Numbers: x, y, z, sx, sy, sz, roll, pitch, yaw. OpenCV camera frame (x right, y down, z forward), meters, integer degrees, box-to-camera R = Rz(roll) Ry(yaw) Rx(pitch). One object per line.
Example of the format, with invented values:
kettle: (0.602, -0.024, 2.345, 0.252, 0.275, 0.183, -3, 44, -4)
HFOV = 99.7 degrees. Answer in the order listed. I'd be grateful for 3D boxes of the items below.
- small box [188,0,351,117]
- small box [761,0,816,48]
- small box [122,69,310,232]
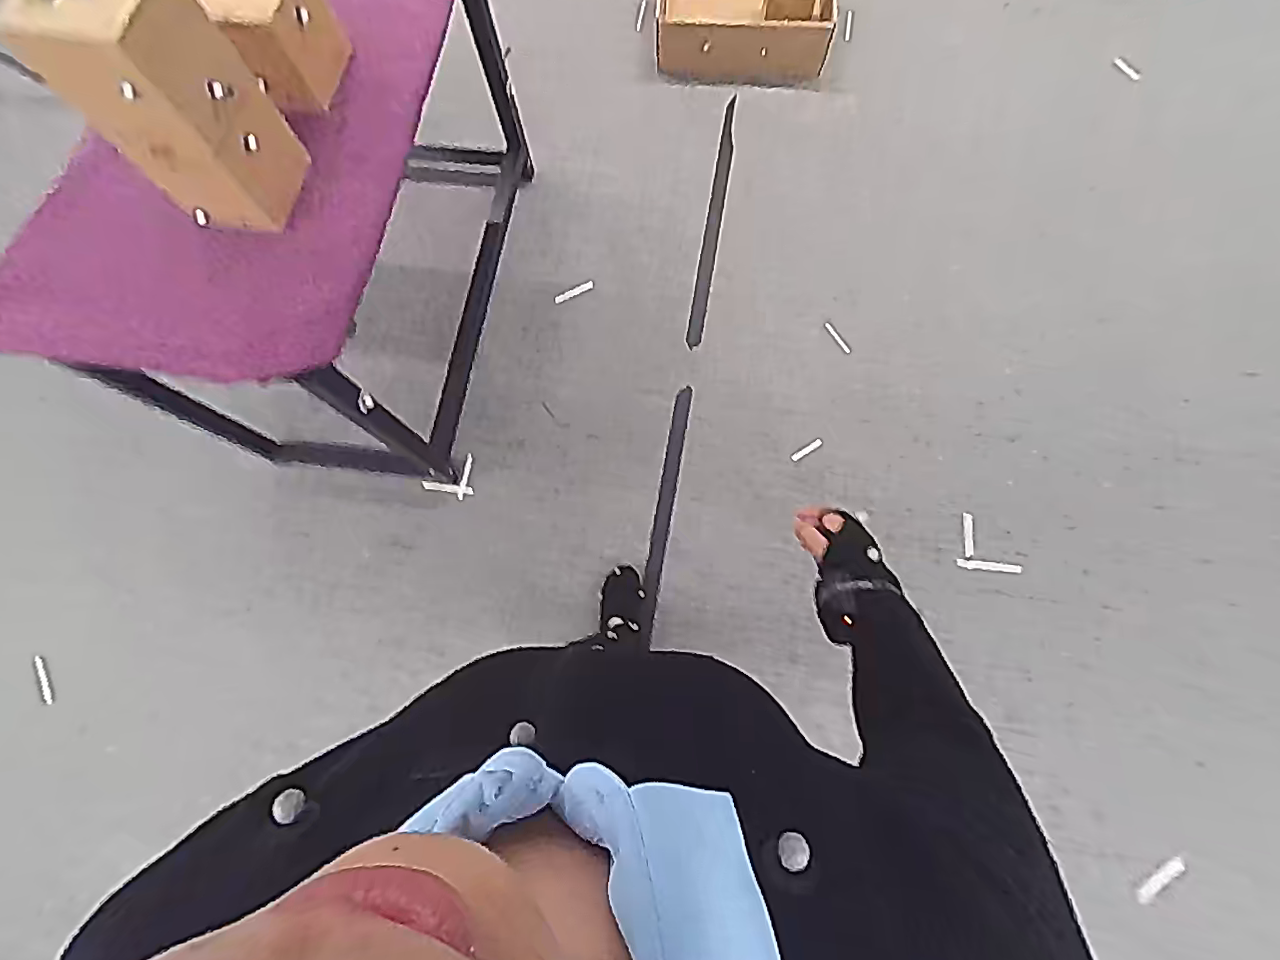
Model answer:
small box: (-0.681, -0.834, 1.020, 0.168, 0.176, 0.179, 9, 75, 4)
small box: (0.533, -1.698, 1.943, 0.168, 0.176, 0.179, 5, 73, 3)
small box: (-0.717, -0.563, 0.939, 0.168, 0.176, 0.179, 8, 73, 4)
